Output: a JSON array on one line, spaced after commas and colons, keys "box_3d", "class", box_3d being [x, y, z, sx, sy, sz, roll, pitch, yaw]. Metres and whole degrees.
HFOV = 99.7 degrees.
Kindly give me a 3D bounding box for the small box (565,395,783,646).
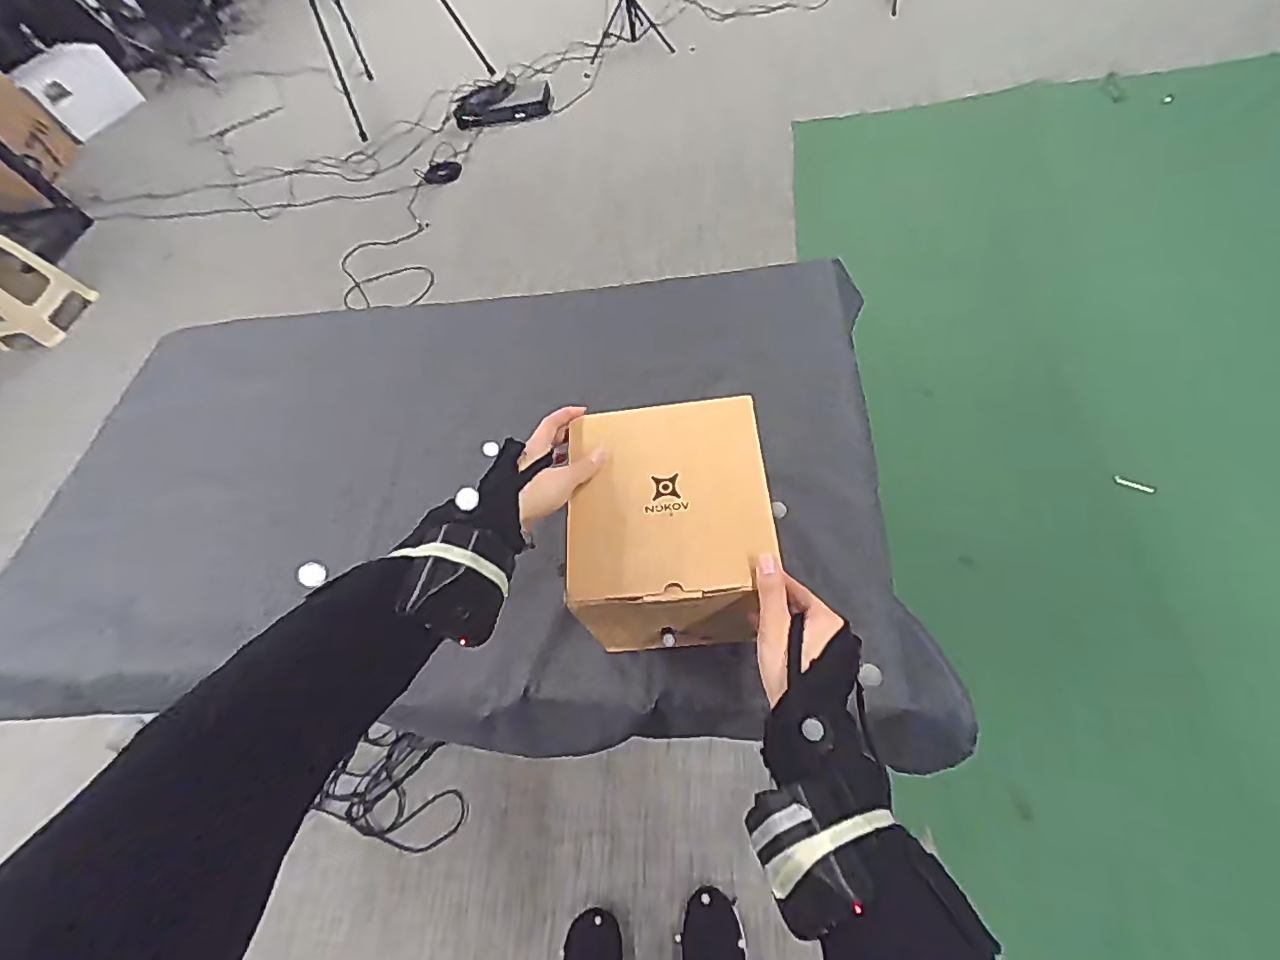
[{"box_3d": [0.030, 0.046, 0.510, 0.168, 0.176, 0.179, -6, 62, 5], "class": "small box"}]
